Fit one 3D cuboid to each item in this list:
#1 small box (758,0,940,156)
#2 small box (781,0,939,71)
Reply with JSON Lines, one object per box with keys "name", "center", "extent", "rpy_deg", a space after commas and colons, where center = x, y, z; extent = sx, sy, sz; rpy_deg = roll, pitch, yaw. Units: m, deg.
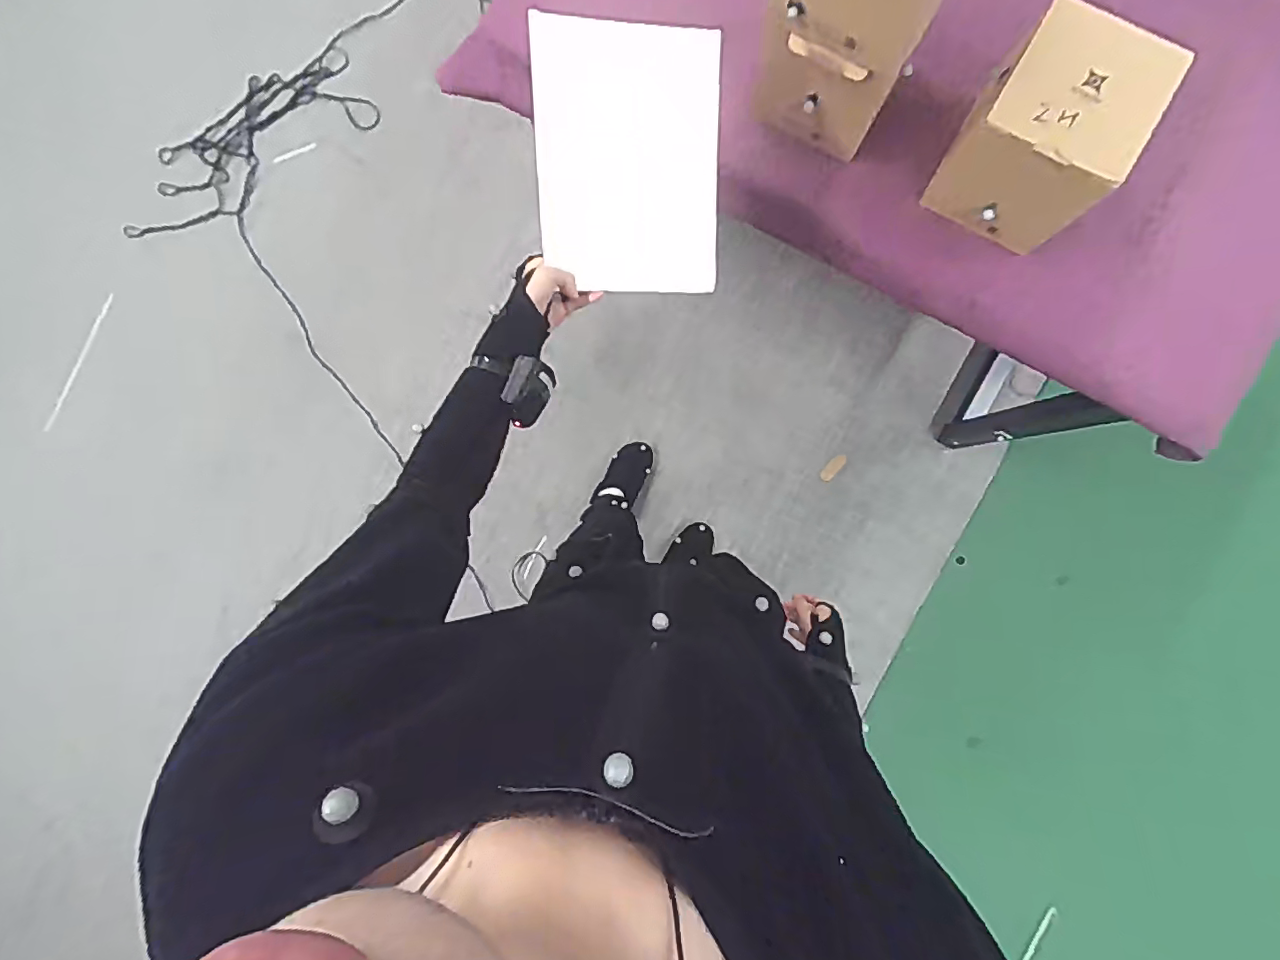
{"name": "small box", "center": [0.270, -0.575, 0.709], "extent": [0.168, 0.176, 0.179], "rpy_deg": [31, 91, 4]}
{"name": "small box", "center": [0.256, -0.575, 0.545], "extent": [0.168, 0.176, 0.179], "rpy_deg": [31, 90, 4]}
